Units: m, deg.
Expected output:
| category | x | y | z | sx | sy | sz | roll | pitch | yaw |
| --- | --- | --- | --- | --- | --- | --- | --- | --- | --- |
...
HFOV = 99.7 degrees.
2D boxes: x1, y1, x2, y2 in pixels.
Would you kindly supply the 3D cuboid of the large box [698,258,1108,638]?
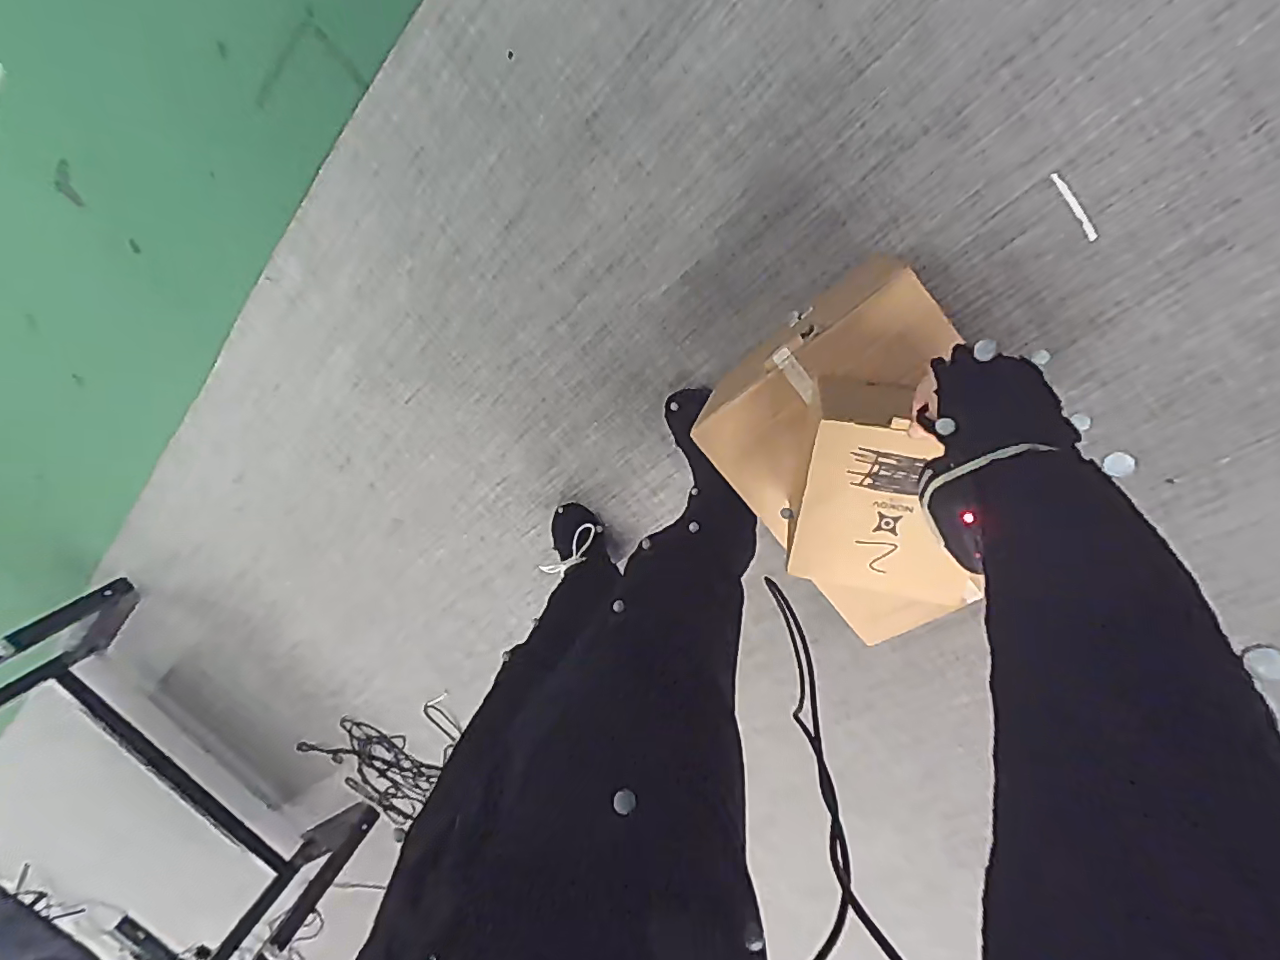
| category | x | y | z | sx | sy | sz | roll | pitch | yaw |
| --- | --- | --- | --- | --- | --- | --- | --- | --- | --- |
| large box | 0.346 | -0.061 | 0.800 | 0.320 | 0.320 | 0.408 | -37 | 100 | 28 |
